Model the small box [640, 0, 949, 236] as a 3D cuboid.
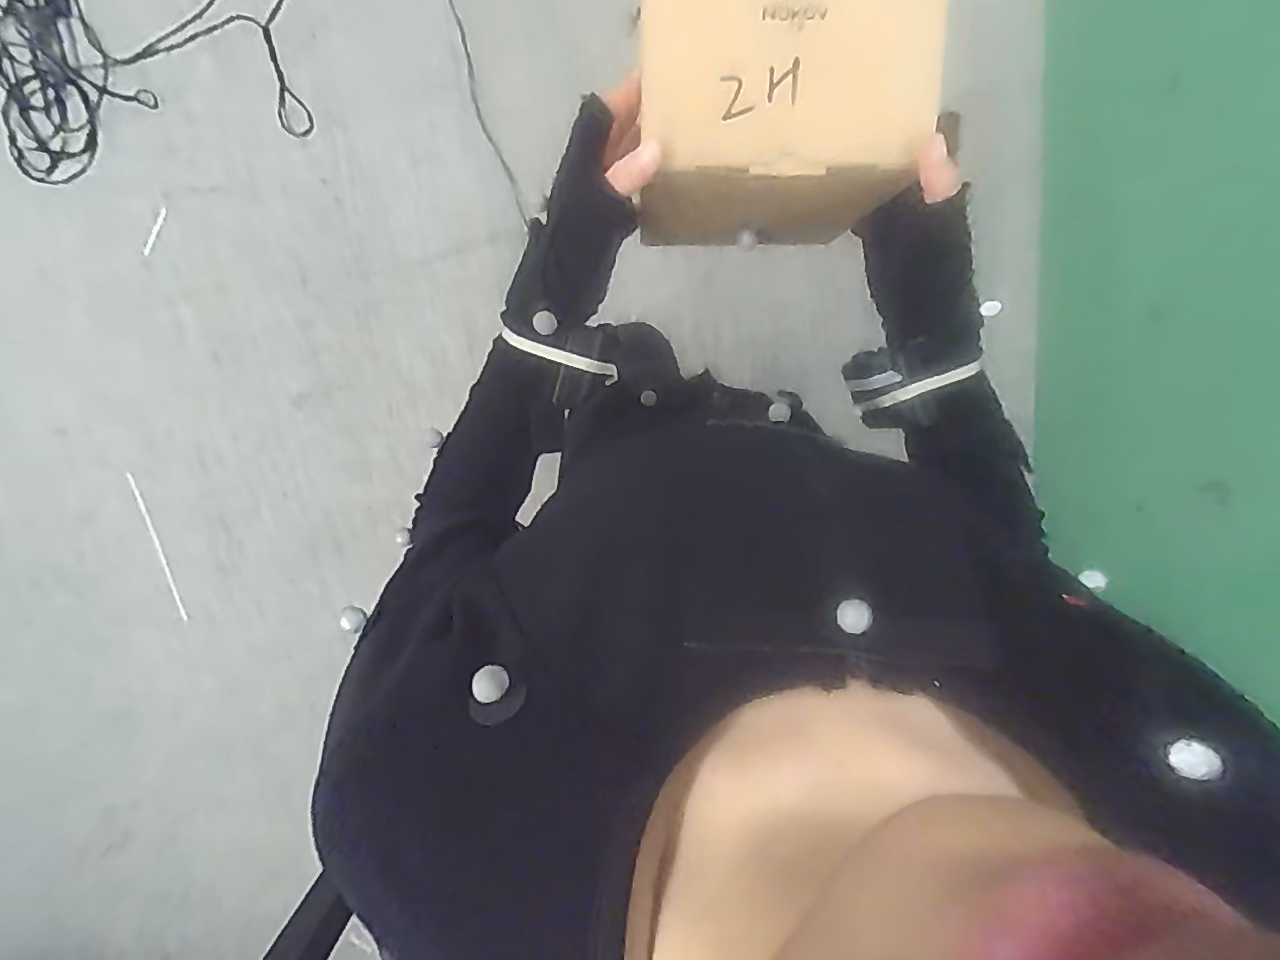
[{"bbox_3d":[0.083,-0.283,0.366,0.168,0.176,0.179,-1,99,1],"label":"small box"}]
